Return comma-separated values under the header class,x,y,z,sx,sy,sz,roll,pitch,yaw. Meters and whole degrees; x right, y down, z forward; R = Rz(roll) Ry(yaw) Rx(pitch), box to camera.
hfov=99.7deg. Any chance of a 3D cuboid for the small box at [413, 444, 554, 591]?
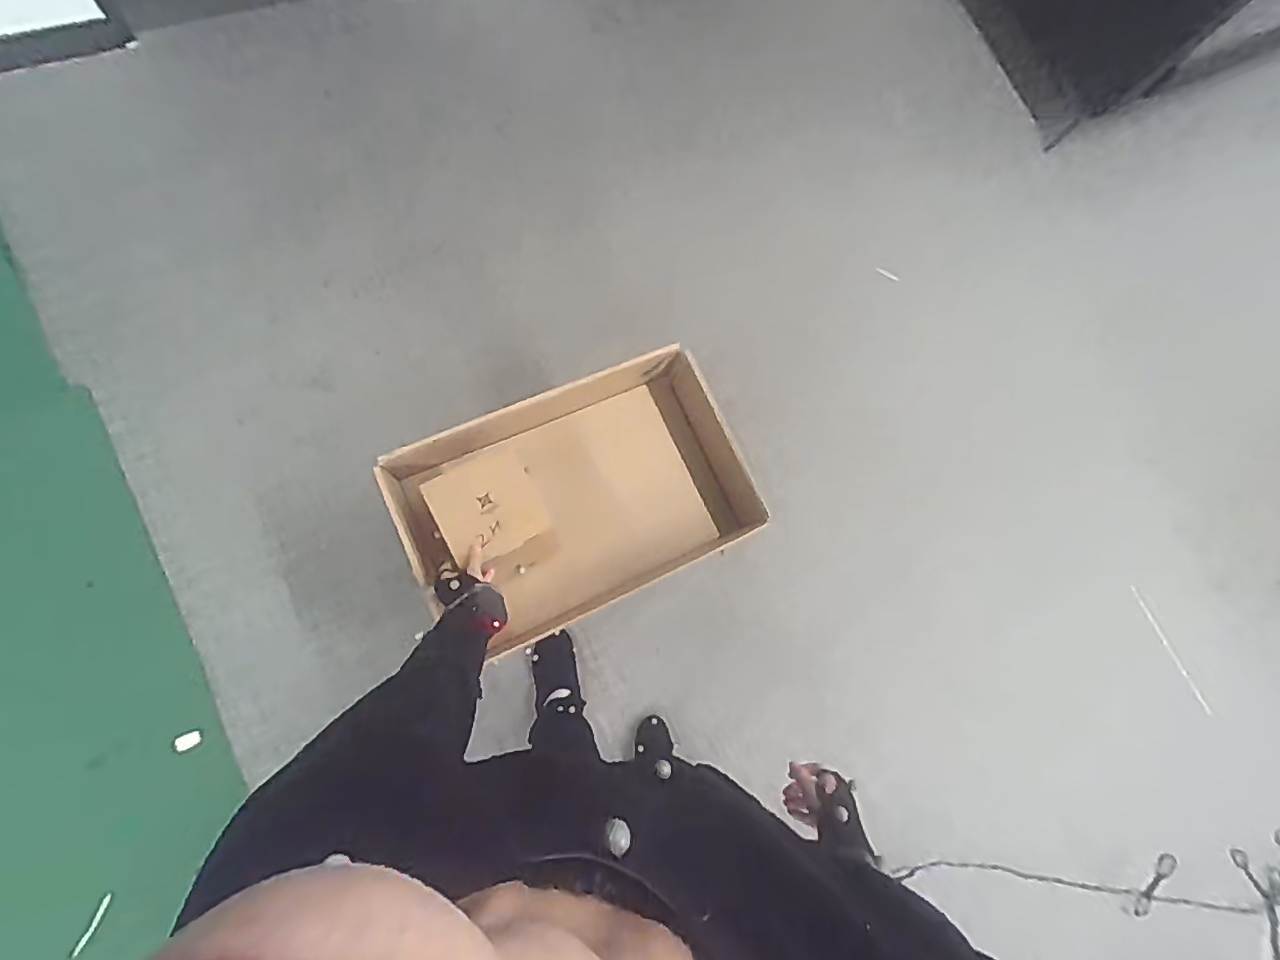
class,x,y,z,sx,sy,sz,roll,pitch,yaw
small box,-0.264,0.072,0.947,0.168,0.176,0.179,-29,74,-15
